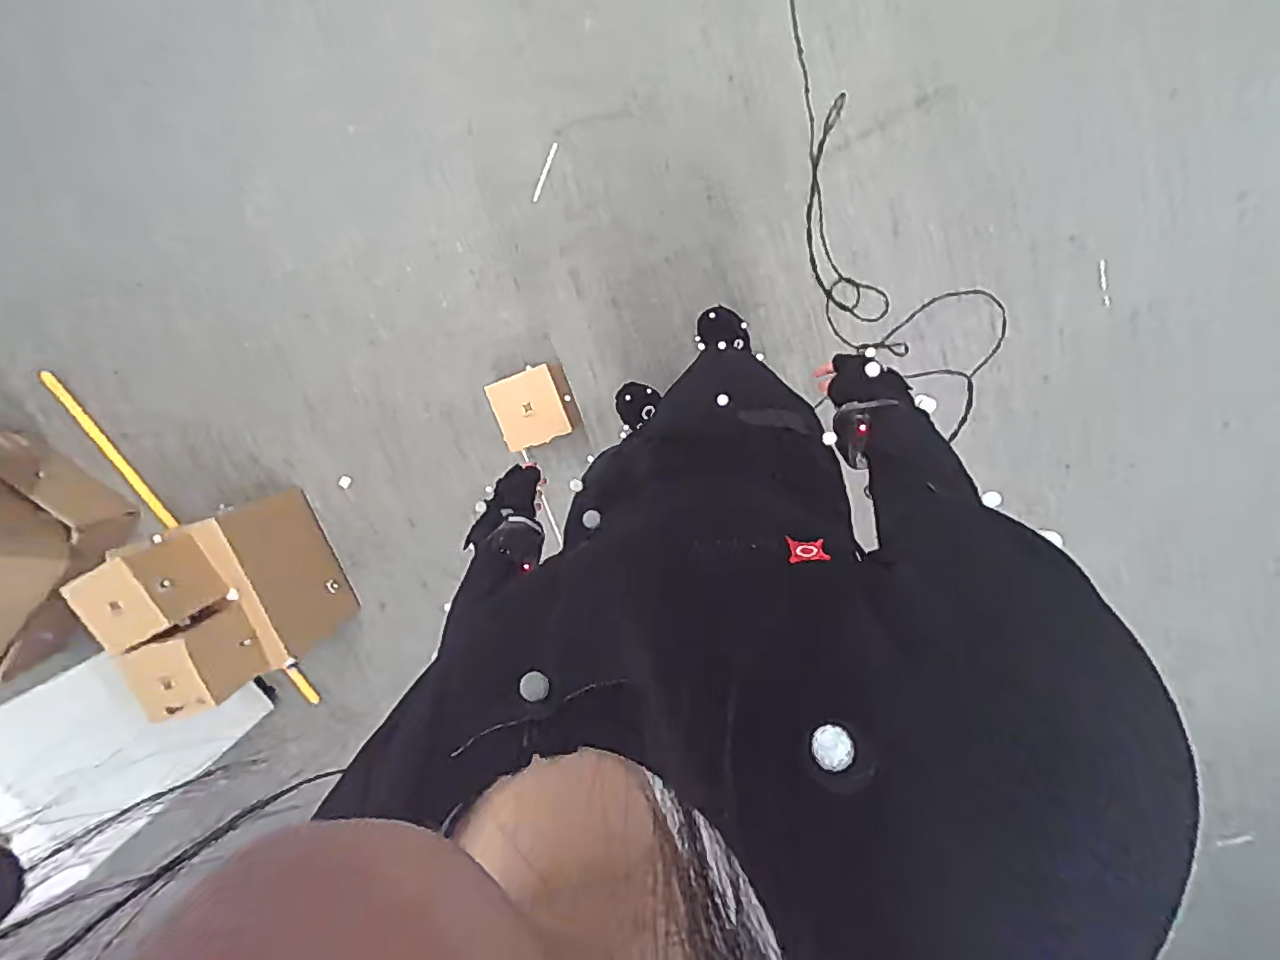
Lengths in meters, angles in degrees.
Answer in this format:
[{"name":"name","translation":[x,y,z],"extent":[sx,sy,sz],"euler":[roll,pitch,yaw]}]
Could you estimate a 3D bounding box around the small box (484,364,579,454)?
[{"name":"small box","translation":[-0.268,-0.184,1.372],"extent":[0.168,0.176,0.179],"euler":[-20,103,7]}]
